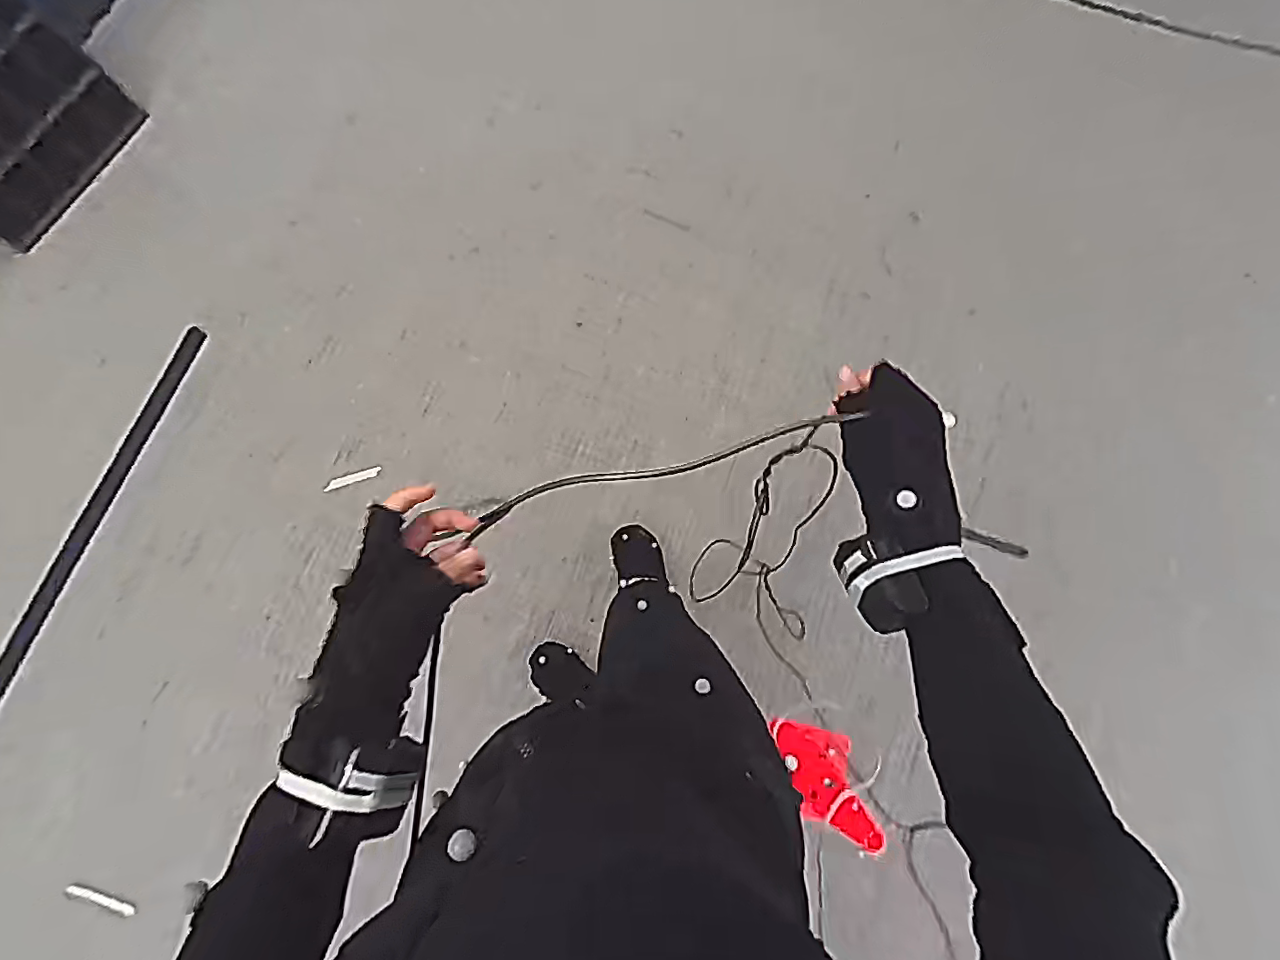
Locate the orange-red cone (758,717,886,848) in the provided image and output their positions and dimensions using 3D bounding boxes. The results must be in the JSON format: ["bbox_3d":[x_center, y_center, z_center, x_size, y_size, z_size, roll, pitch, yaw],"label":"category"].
[{"bbox_3d":[0.395,0.645,1.097,0.199,0.360,0.198,16,79,1],"label":"orange-red cone"}]
